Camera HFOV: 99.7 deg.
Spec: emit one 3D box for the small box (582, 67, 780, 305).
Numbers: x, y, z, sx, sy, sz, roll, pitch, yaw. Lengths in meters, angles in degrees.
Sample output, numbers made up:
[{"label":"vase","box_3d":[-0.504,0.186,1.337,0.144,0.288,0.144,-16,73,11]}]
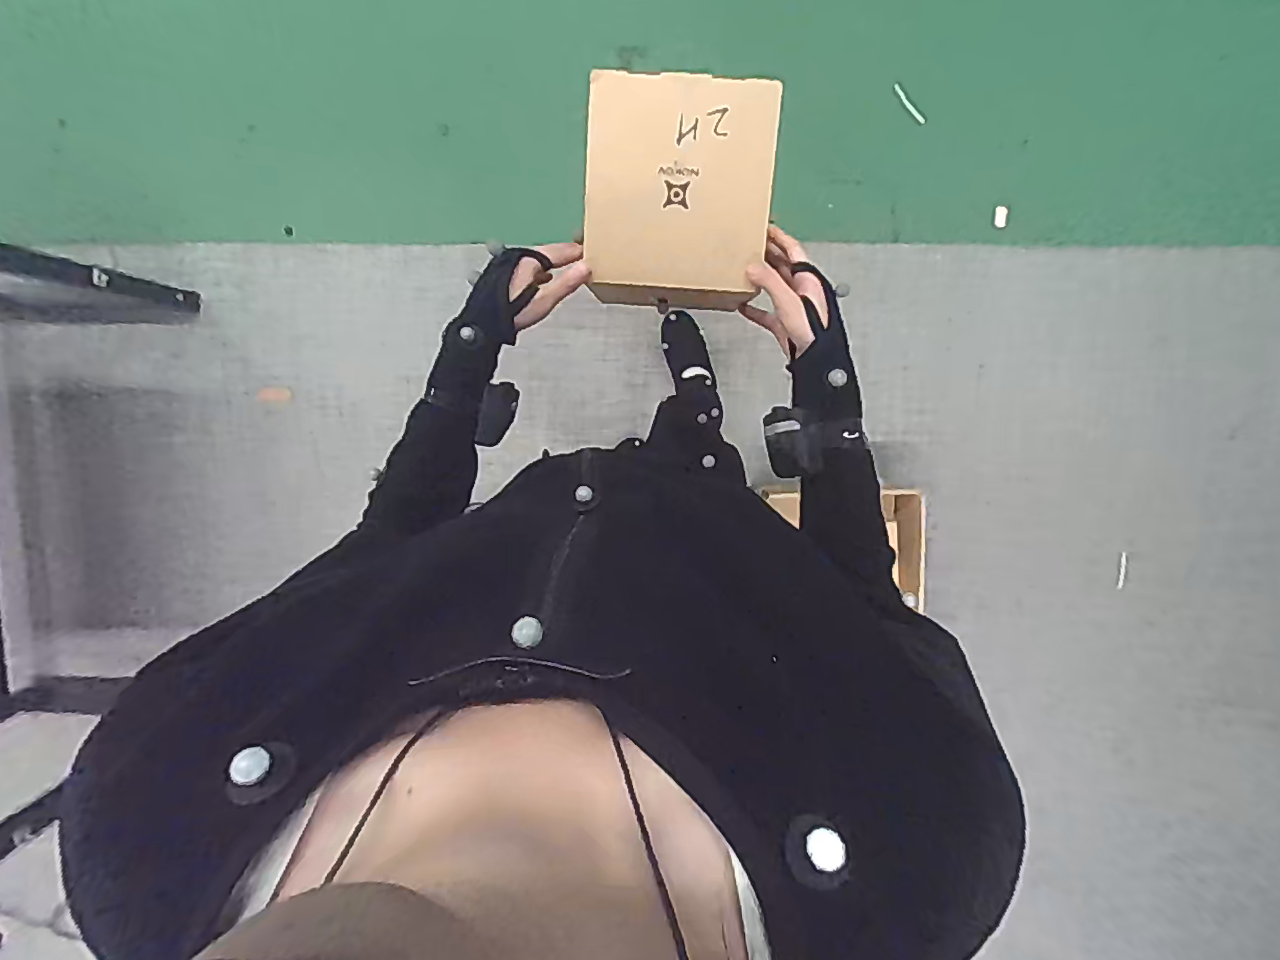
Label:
[{"label":"small box","box_3d":[0.037,-0.280,0.556,0.168,0.176,0.179,3,101,1]}]
